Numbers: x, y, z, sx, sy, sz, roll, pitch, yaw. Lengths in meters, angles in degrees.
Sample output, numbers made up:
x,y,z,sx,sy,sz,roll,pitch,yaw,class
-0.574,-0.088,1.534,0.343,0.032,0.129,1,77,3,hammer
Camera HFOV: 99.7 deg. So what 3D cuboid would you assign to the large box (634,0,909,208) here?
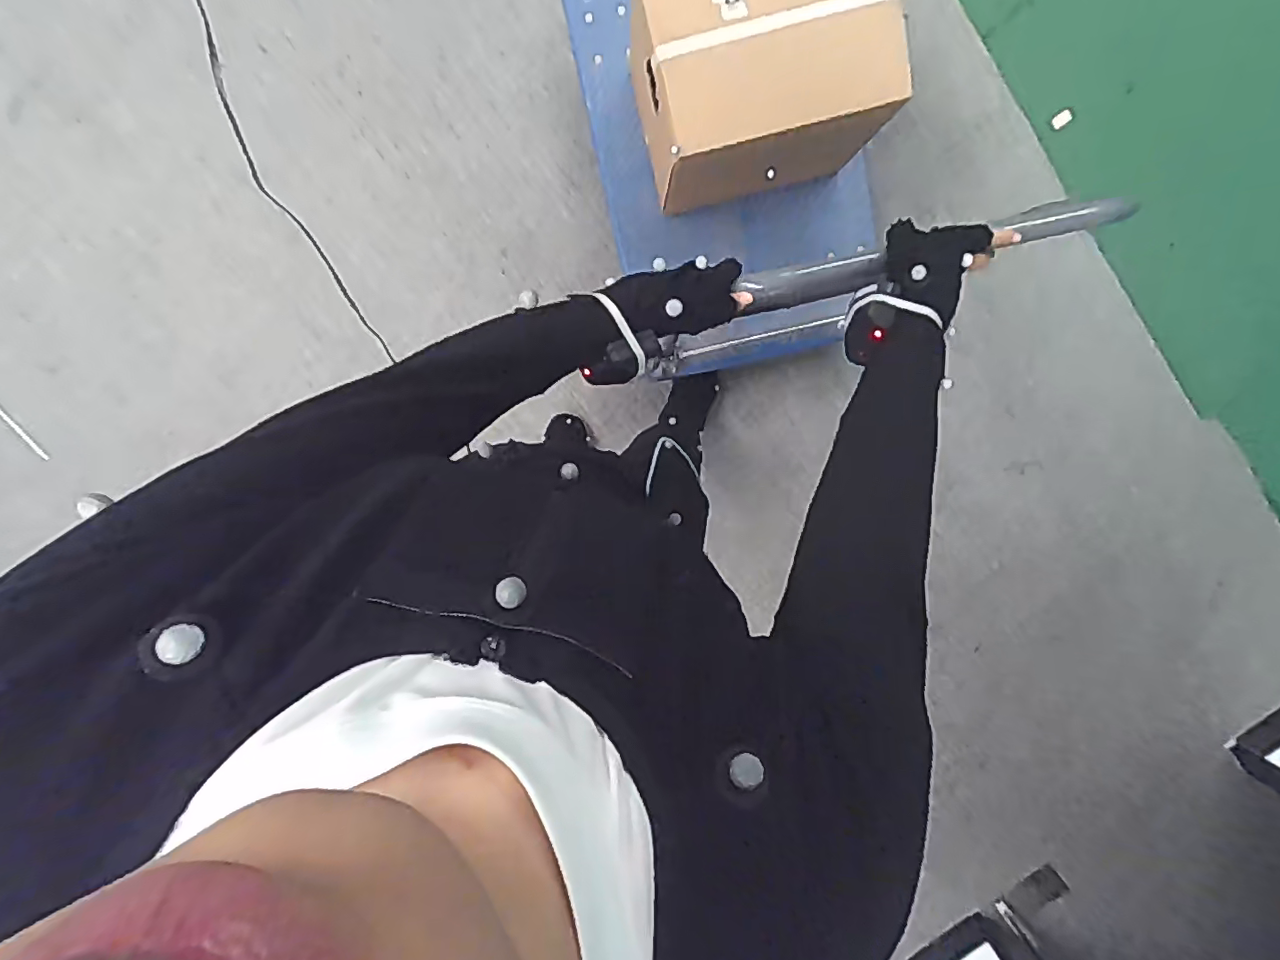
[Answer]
x,y,z,sx,sy,sz,roll,pitch,yaw,class
0.219,-0.767,1.026,0.408,0.320,0.320,-15,100,1,large box
